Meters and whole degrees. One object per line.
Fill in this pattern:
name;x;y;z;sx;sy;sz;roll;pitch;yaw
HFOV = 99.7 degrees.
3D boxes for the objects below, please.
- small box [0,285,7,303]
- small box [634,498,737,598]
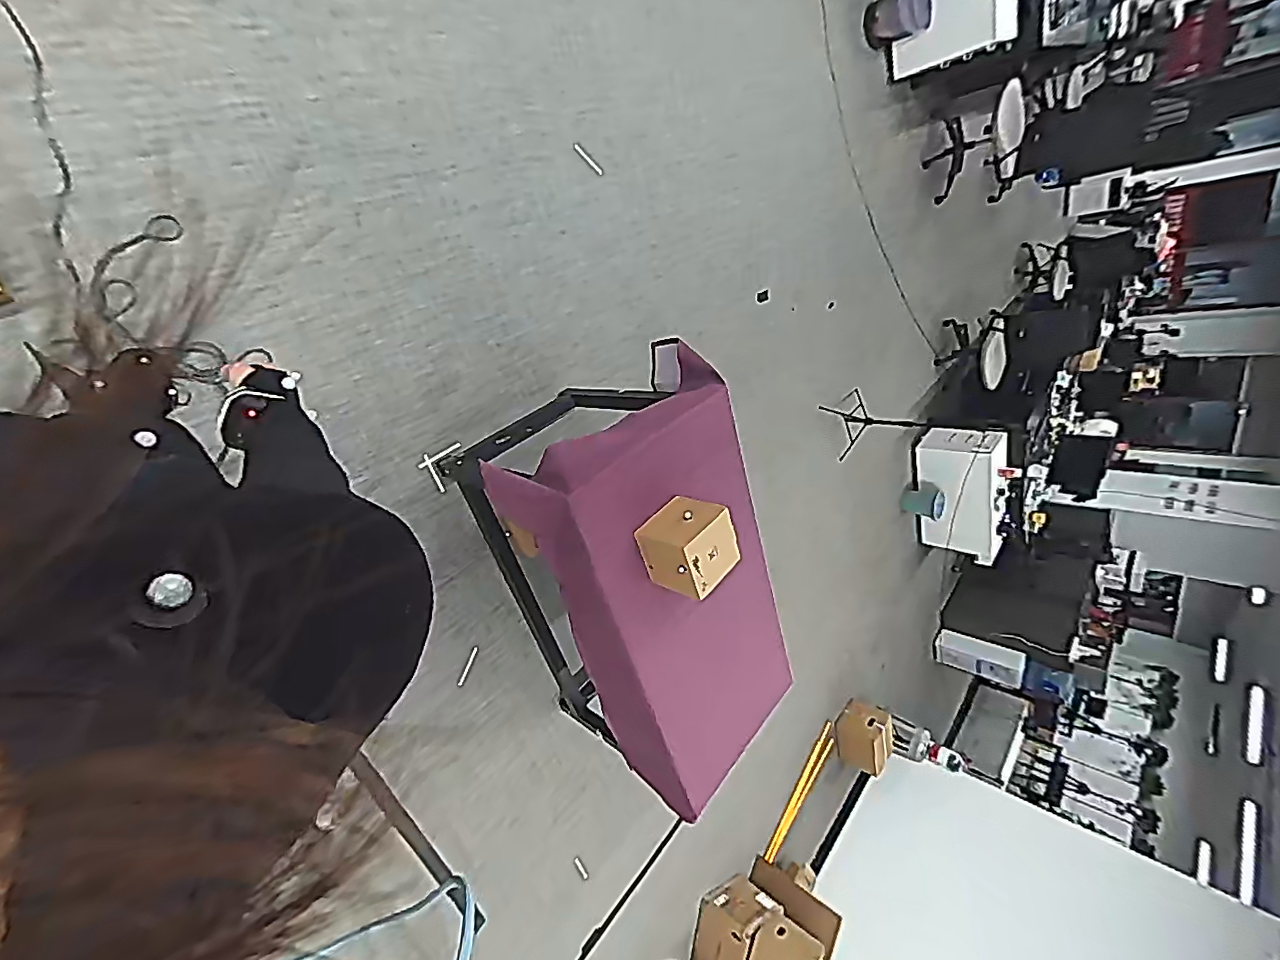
small box;-1.262;-0.380;0.927;0.168;0.176;0.179;-35;121;-34
small box;0.115;0.162;1.364;0.179;0.176;0.168;-39;123;-33
